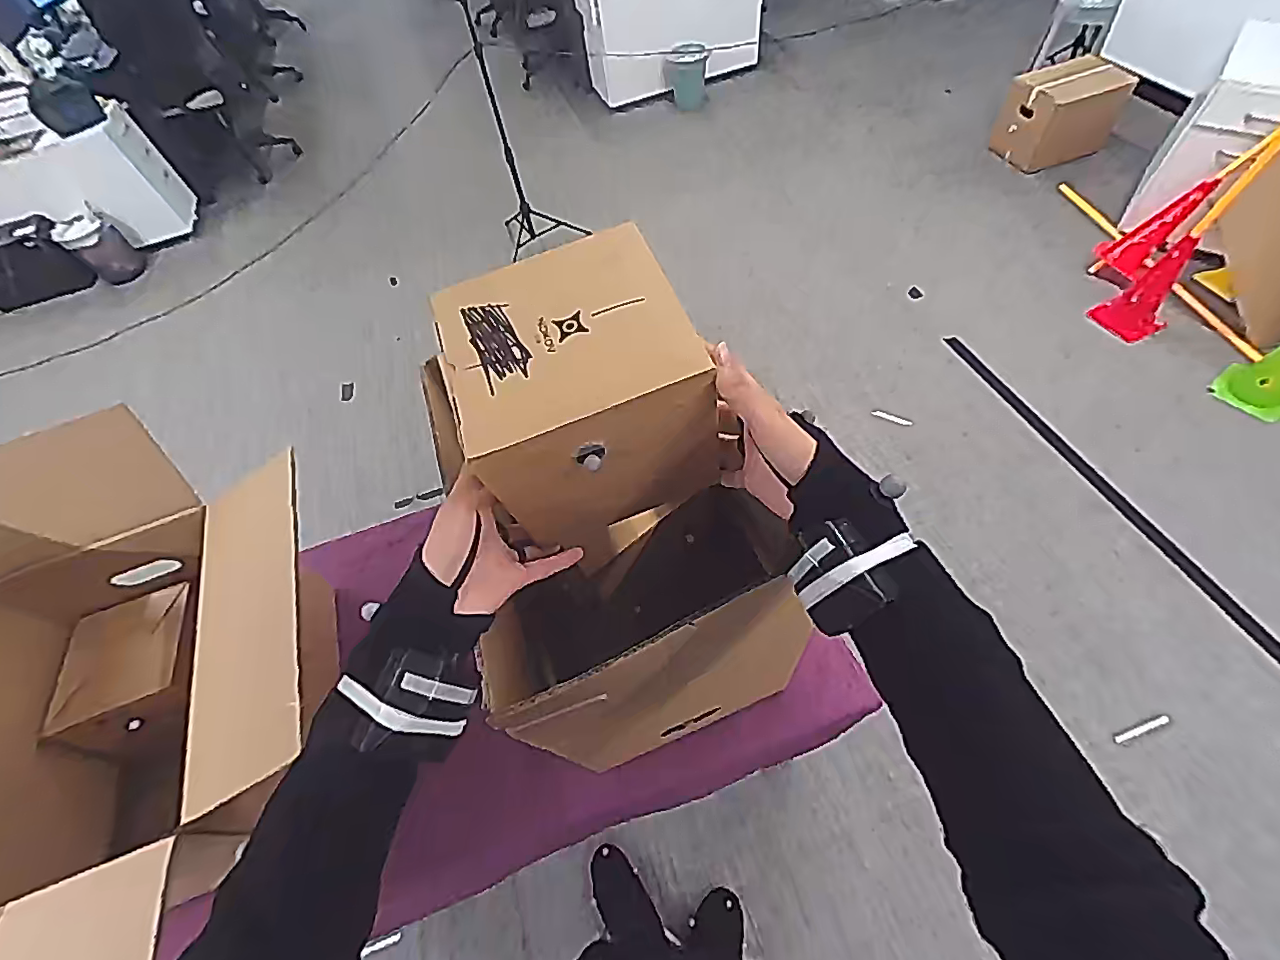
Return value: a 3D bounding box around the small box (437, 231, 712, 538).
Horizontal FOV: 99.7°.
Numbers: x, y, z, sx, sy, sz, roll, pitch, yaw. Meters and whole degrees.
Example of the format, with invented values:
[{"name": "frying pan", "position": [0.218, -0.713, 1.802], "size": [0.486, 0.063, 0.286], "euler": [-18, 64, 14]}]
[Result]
[{"name": "small box", "position": [-0.047, -0.071, 0.470], "size": [0.179, 0.176, 0.168], "euler": [-21, 62, -2]}]
